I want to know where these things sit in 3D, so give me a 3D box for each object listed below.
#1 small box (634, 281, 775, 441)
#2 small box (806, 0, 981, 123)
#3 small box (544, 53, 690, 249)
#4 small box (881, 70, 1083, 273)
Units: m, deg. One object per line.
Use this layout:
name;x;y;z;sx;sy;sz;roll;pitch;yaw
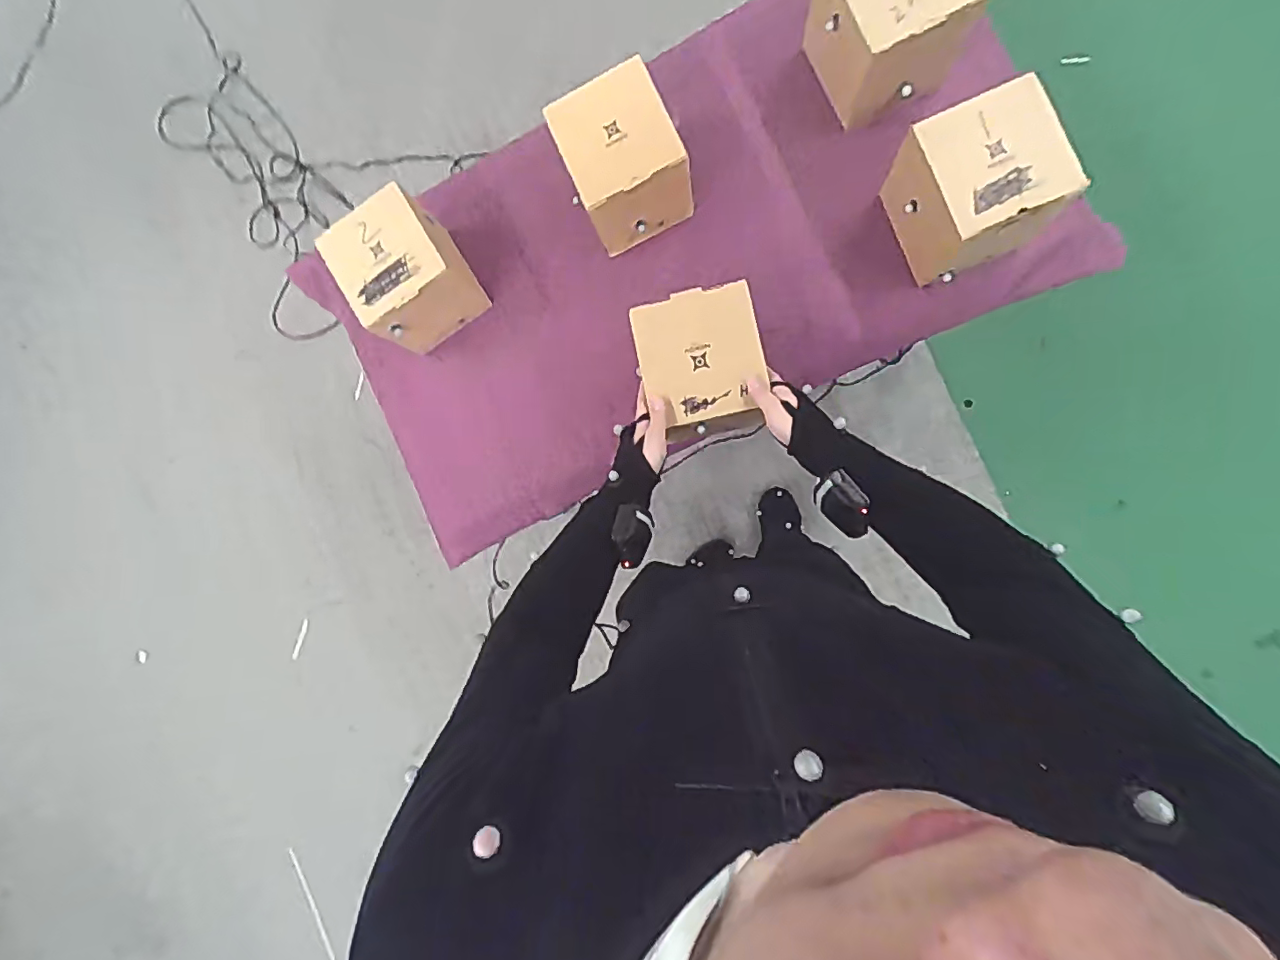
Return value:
small box;0.095;-0.164;0.803;0.168;0.176;0.179;-11;87;8
small box;0.368;-0.697;0.814;0.168;0.176;0.179;-24;87;8
small box;-0.029;-0.513;0.871;0.168;0.176;0.179;-25;87;7
small box;0.482;-0.430;0.792;0.168;0.176;0.179;-21;84;8
